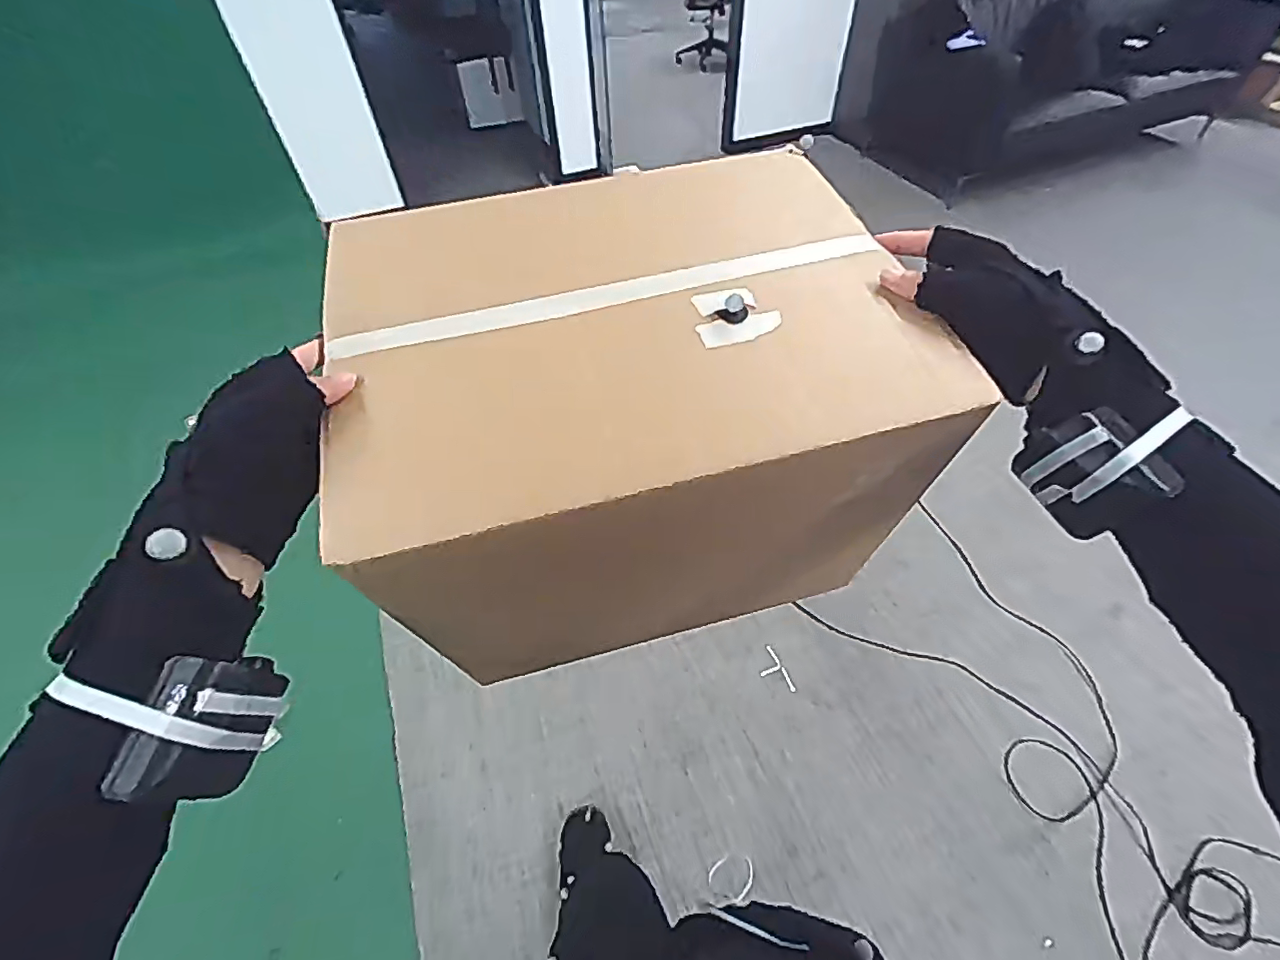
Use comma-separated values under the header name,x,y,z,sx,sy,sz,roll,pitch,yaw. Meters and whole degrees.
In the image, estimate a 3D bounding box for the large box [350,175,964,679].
name,x,y,z,sx,sy,sz,roll,pitch,yaw
large box,-0.012,-0.043,0.532,0.408,0.320,0.320,-13,58,-8
